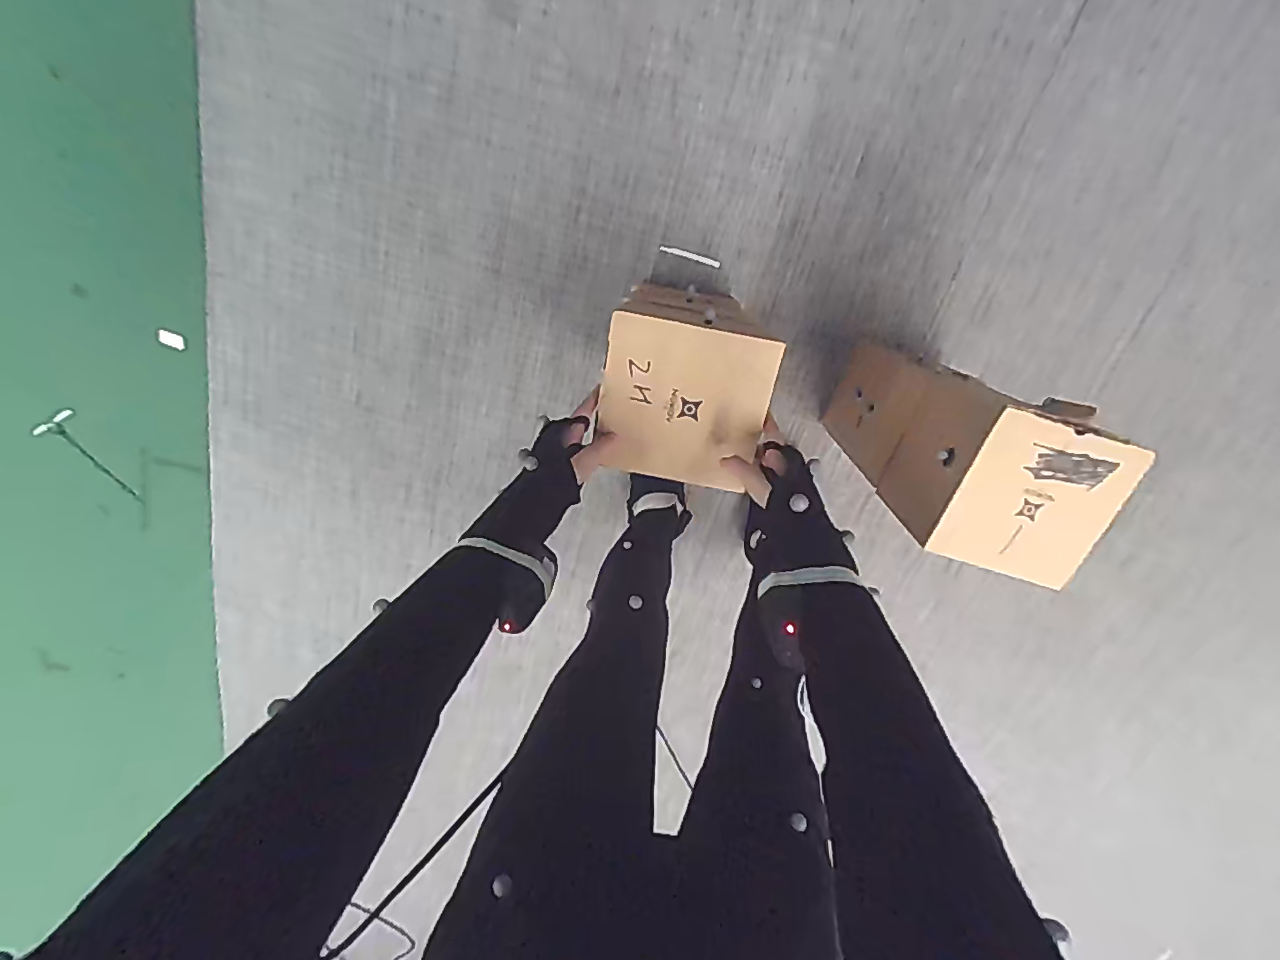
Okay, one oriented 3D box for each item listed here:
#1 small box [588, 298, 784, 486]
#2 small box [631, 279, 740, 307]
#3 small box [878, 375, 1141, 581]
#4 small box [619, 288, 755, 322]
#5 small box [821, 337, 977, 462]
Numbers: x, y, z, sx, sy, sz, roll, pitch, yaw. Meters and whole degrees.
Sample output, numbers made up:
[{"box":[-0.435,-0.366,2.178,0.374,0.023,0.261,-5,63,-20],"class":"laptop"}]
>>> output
[{"box":[0.049,-0.113,0.638,0.179,0.176,0.168,12,112,0],"class":"small box"},{"box":[0.062,-0.248,0.940,0.179,0.176,0.168,12,112,1],"class":"small box"},{"box":[0.417,-0.013,0.653,0.168,0.176,0.179,17,113,-2],"class":"small box"},{"box":[0.054,-0.181,0.790,0.179,0.176,0.168,11,113,0],"class":"small box"},{"box":[0.439,-0.138,0.957,0.168,0.176,0.179,16,113,-4],"class":"small box"}]
